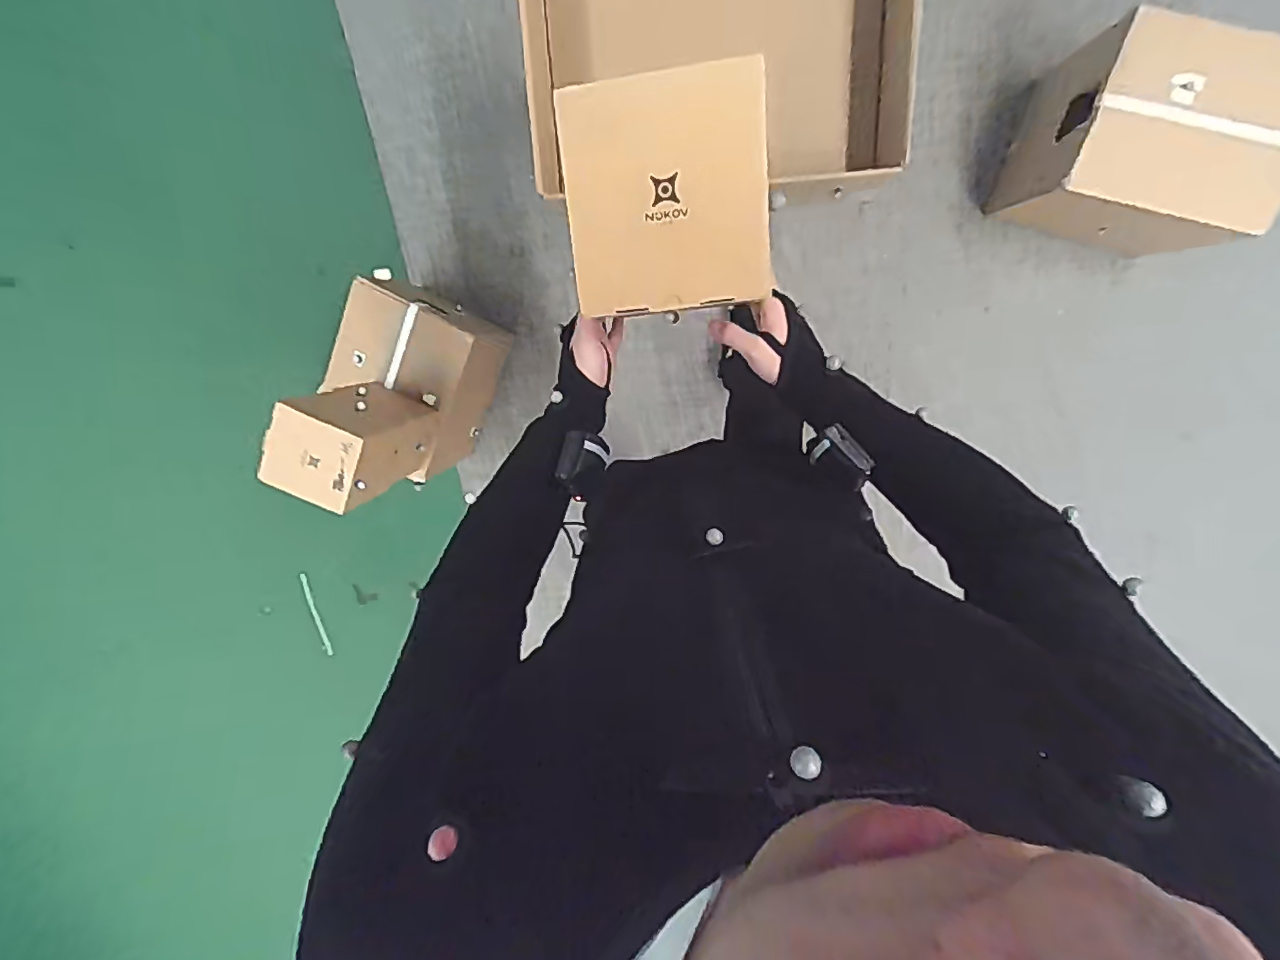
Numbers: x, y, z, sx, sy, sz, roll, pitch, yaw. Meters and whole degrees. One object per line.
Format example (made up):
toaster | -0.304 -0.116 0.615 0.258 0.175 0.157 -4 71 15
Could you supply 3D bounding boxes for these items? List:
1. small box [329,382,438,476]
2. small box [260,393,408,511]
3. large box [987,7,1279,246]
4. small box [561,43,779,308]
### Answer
small box | -0.600 -0.115 1.239 0.179 0.176 0.168 25 107 -3
small box | -0.604 -0.065 1.083 0.179 0.176 0.168 24 107 -2
large box | 1.071 -0.716 1.158 0.408 0.320 0.320 14 107 2
small box | 0.034 -0.261 0.511 0.168 0.176 0.179 -5 108 8
